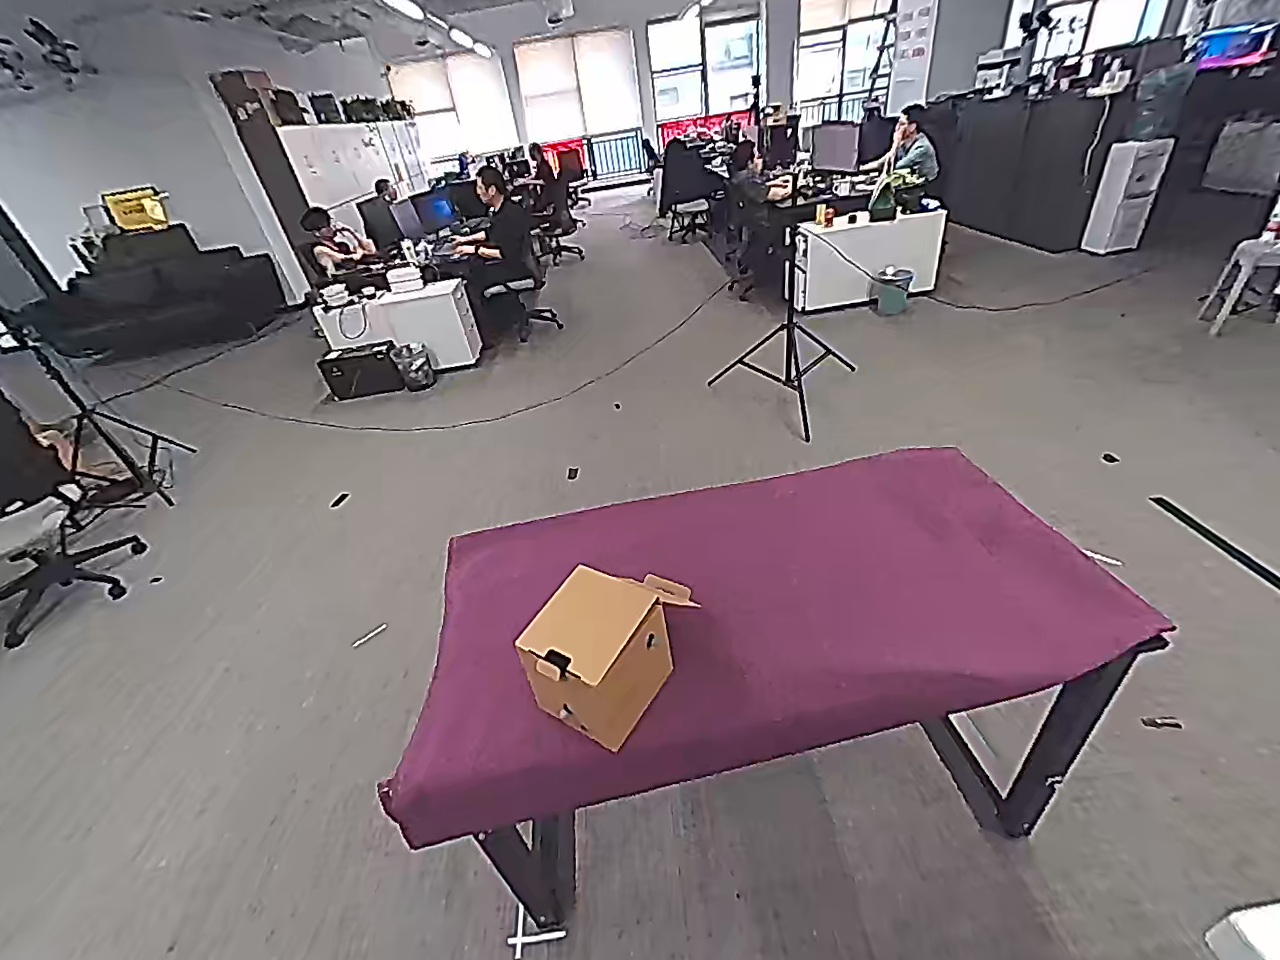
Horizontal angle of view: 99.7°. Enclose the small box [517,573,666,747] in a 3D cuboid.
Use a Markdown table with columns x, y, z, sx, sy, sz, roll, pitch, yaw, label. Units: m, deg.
| x | y | z | sx | sy | sz | roll | pitch | yaw | label |
| --- | --- | --- | --- | --- | --- | --- | --- | --- | --- |
| -0.069 | 0.290 | 0.888 | 0.168 | 0.176 | 0.179 | 14 | 40 | 32 | small box |
